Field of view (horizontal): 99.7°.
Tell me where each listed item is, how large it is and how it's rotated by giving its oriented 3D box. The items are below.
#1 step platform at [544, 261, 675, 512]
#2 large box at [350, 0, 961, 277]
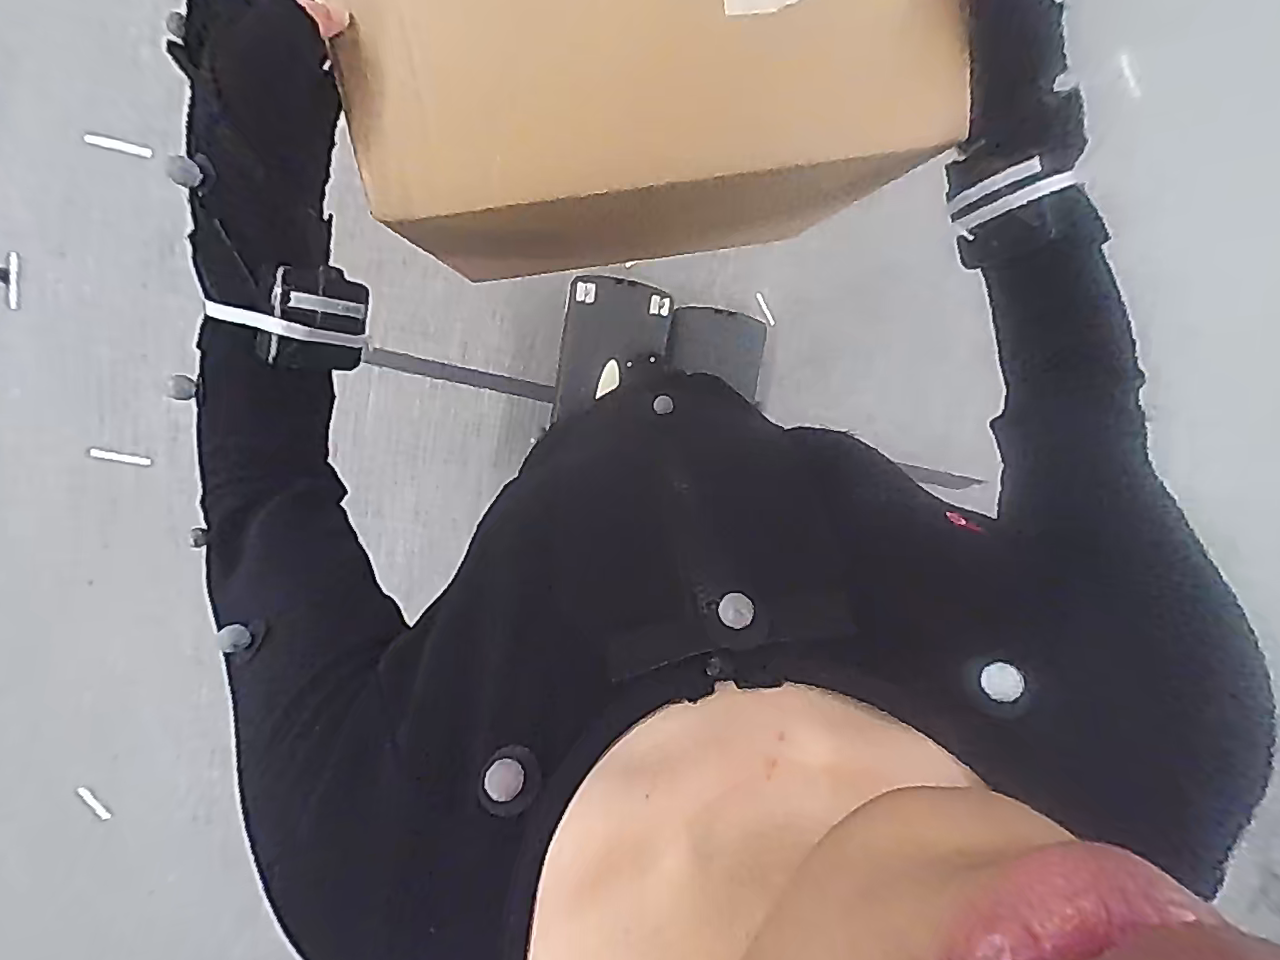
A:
[{"bbox_3d":[-0.092,-0.250,1.532,0.286,0.204,0.684,7,98,-8],"label":"step platform"},{"bbox_3d":[-0.007,-0.391,0.481,0.408,0.320,0.320,-10,104,-4],"label":"large box"}]
